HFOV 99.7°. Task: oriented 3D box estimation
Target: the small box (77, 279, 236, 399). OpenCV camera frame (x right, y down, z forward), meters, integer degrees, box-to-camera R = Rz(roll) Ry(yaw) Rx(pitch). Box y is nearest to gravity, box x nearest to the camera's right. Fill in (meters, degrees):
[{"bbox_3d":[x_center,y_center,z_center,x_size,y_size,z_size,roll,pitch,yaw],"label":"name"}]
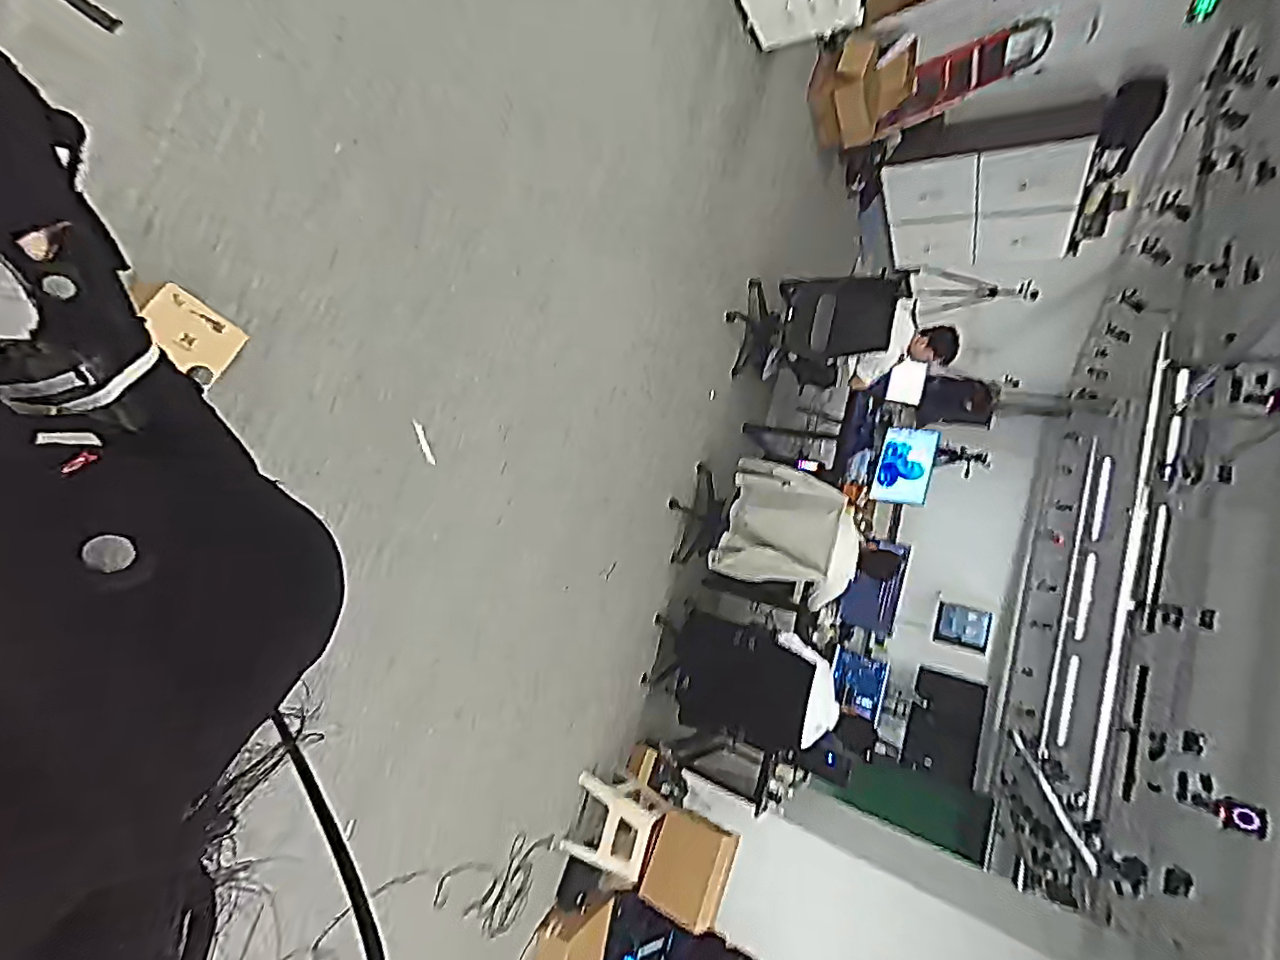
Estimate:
[{"bbox_3d":[-1.003,-0.291,1.121,0.179,0.176,0.168,-65,146,-20],"label":"small box"}]
